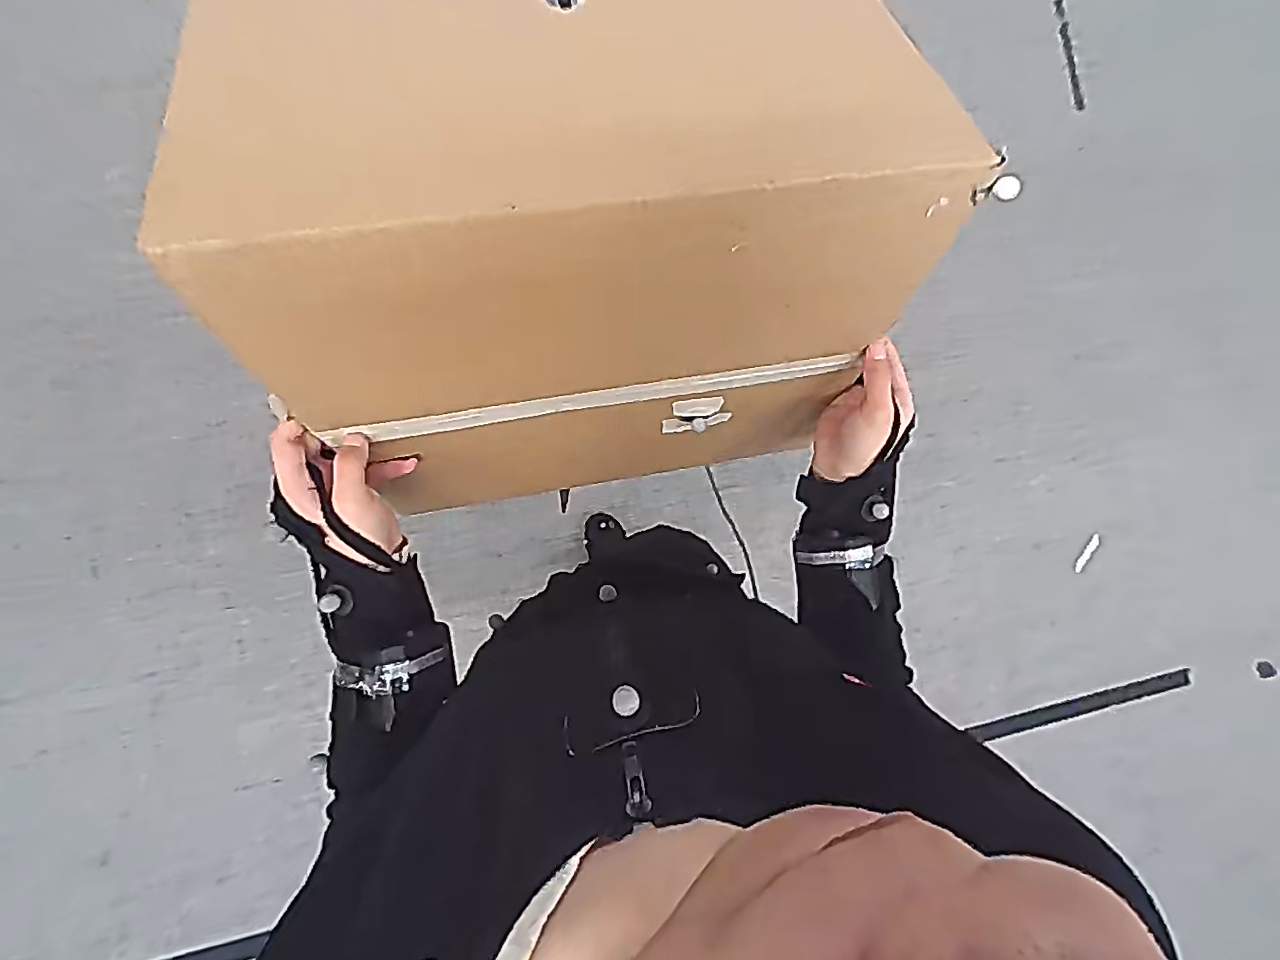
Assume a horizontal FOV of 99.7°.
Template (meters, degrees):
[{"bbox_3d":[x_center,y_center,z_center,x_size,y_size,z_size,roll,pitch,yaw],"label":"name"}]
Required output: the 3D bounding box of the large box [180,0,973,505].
[{"bbox_3d":[-0.054,-0.209,0.457,0.408,0.320,0.320,-11,67,-8],"label":"large box"}]
